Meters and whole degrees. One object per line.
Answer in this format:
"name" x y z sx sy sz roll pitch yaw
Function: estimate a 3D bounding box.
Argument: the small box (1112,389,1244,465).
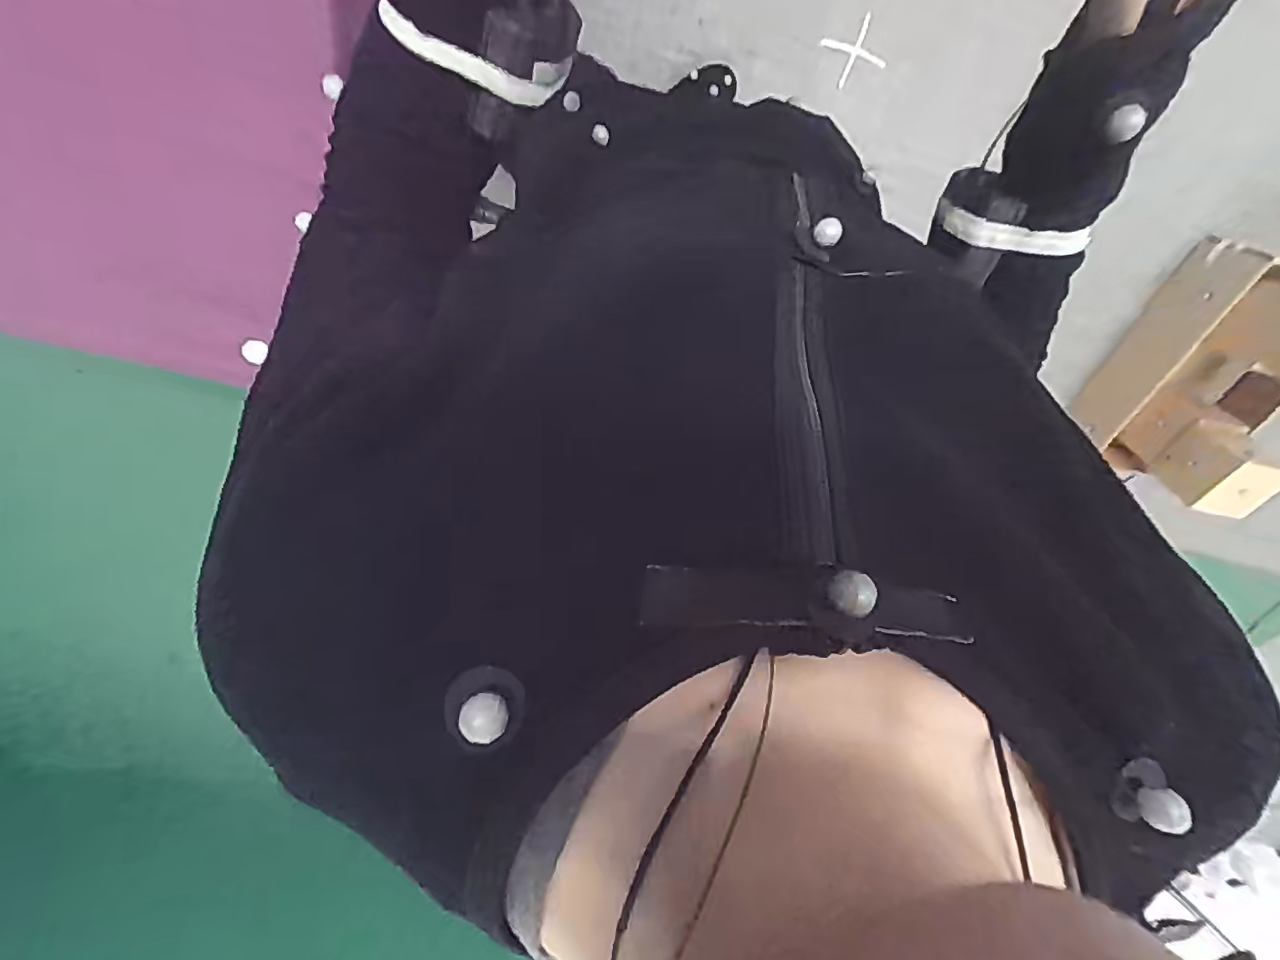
"small box" 1.550 -0.144 1.574 0.168 0.176 0.179 10 129 -9

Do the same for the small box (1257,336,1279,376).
"small box" 1.616 -0.291 1.239 0.168 0.176 0.179 11 130 -8

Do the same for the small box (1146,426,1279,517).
"small box" 1.546 -0.027 1.457 0.179 0.176 0.168 10 130 -9
